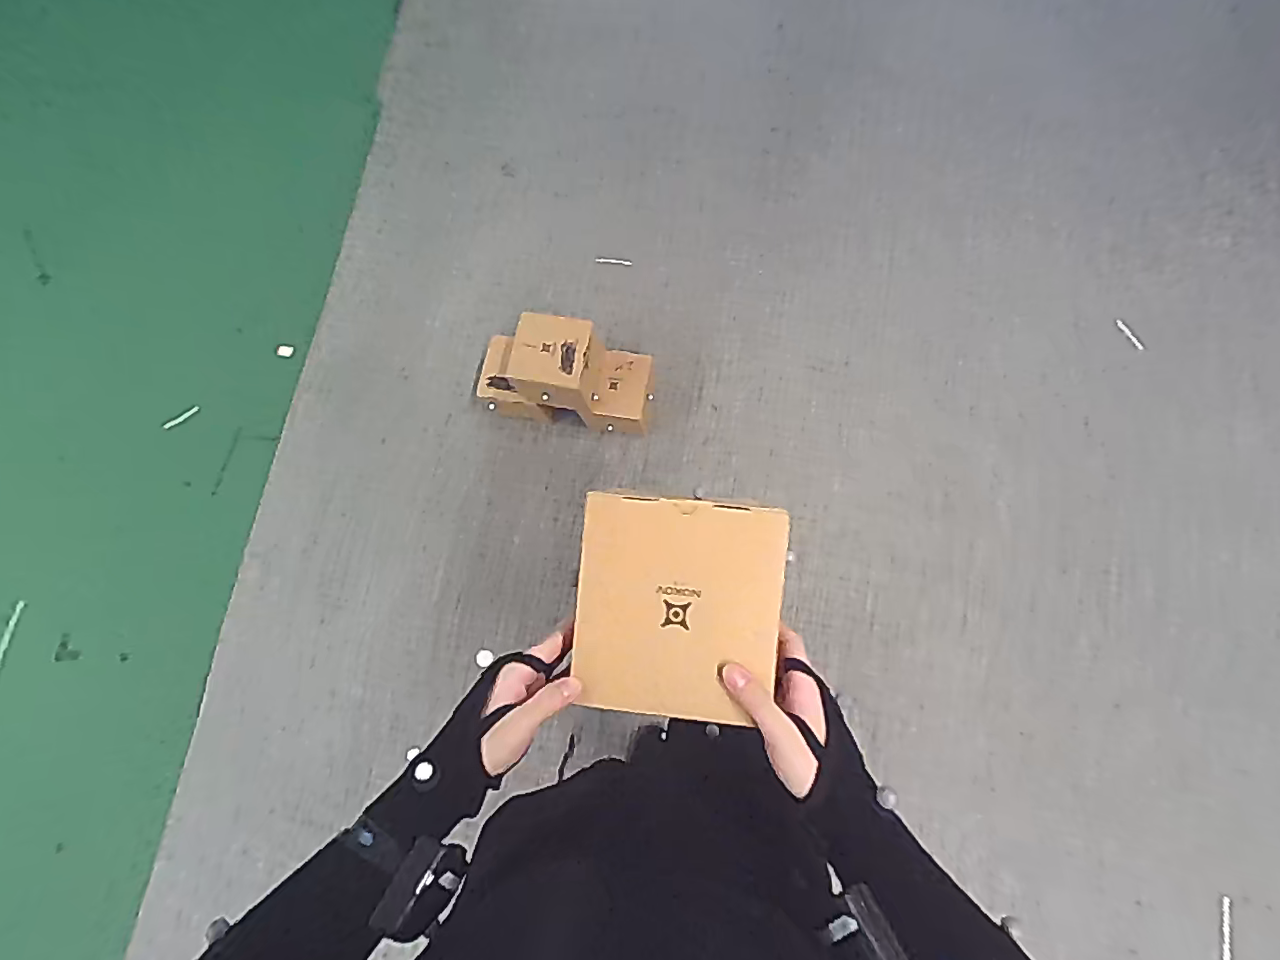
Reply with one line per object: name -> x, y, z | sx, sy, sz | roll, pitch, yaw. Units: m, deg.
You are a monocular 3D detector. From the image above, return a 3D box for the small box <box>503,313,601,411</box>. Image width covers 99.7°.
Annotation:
small box -> -0.201, -0.275, 1.298 | 0.179, 0.176, 0.168 | 10, 80, 8

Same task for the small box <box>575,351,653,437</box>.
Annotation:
small box -> -0.063, -0.226, 1.444 | 0.168, 0.176, 0.179 | 9, 80, 7

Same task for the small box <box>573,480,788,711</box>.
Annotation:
small box -> 0.038, 0.094, 0.520 | 0.168, 0.176, 0.179 | 4, 89, 4
